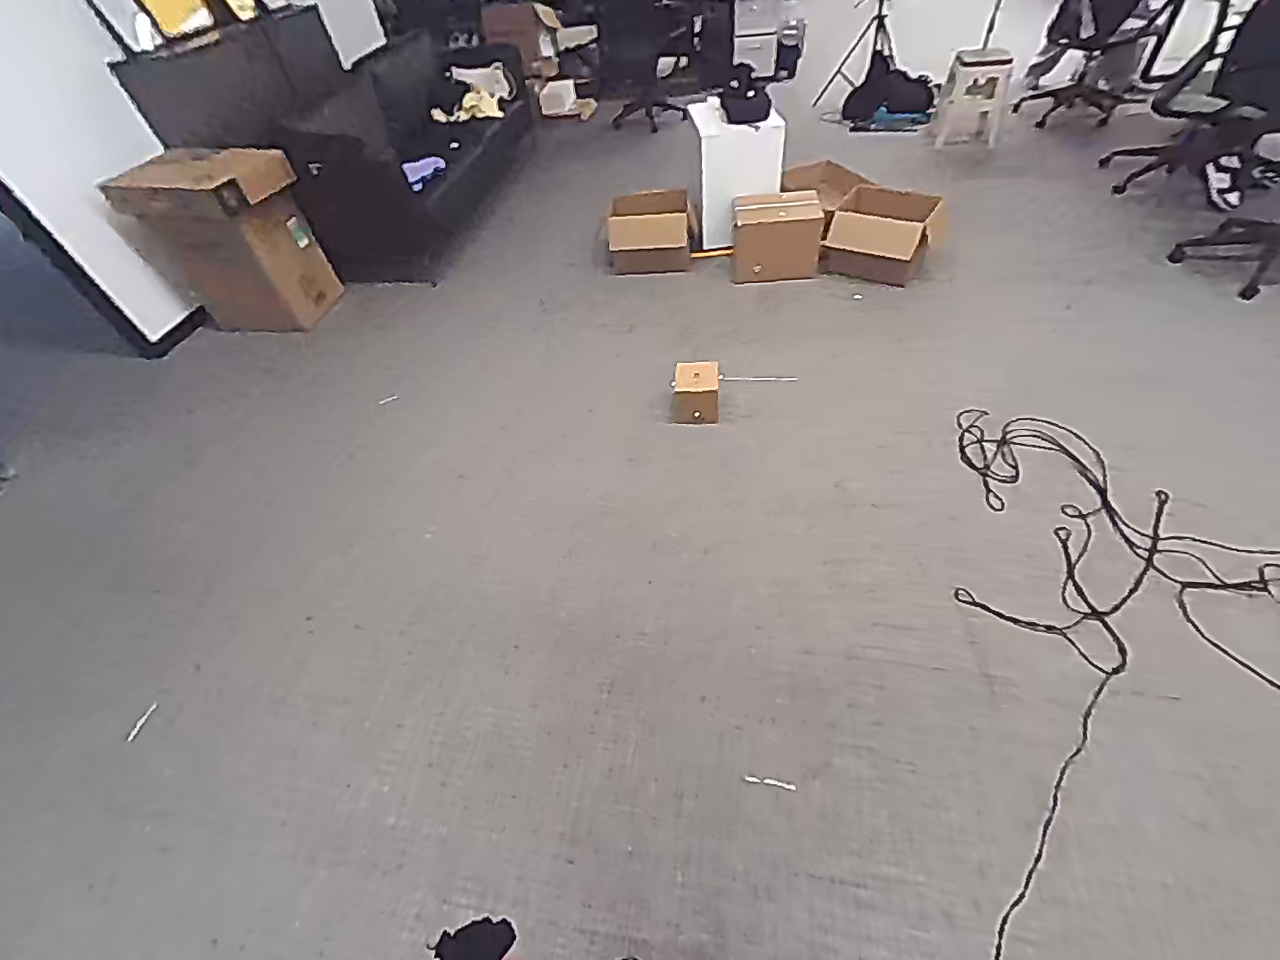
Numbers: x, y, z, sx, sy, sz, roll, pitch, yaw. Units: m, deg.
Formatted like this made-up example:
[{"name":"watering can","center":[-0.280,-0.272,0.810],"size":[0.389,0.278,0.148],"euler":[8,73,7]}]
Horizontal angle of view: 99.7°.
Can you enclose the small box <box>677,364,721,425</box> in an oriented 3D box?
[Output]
[{"name":"small box","center":[0.235,-0.336,2.129],"size":[0.168,0.176,0.179],"euler":[0,49,8]}]
